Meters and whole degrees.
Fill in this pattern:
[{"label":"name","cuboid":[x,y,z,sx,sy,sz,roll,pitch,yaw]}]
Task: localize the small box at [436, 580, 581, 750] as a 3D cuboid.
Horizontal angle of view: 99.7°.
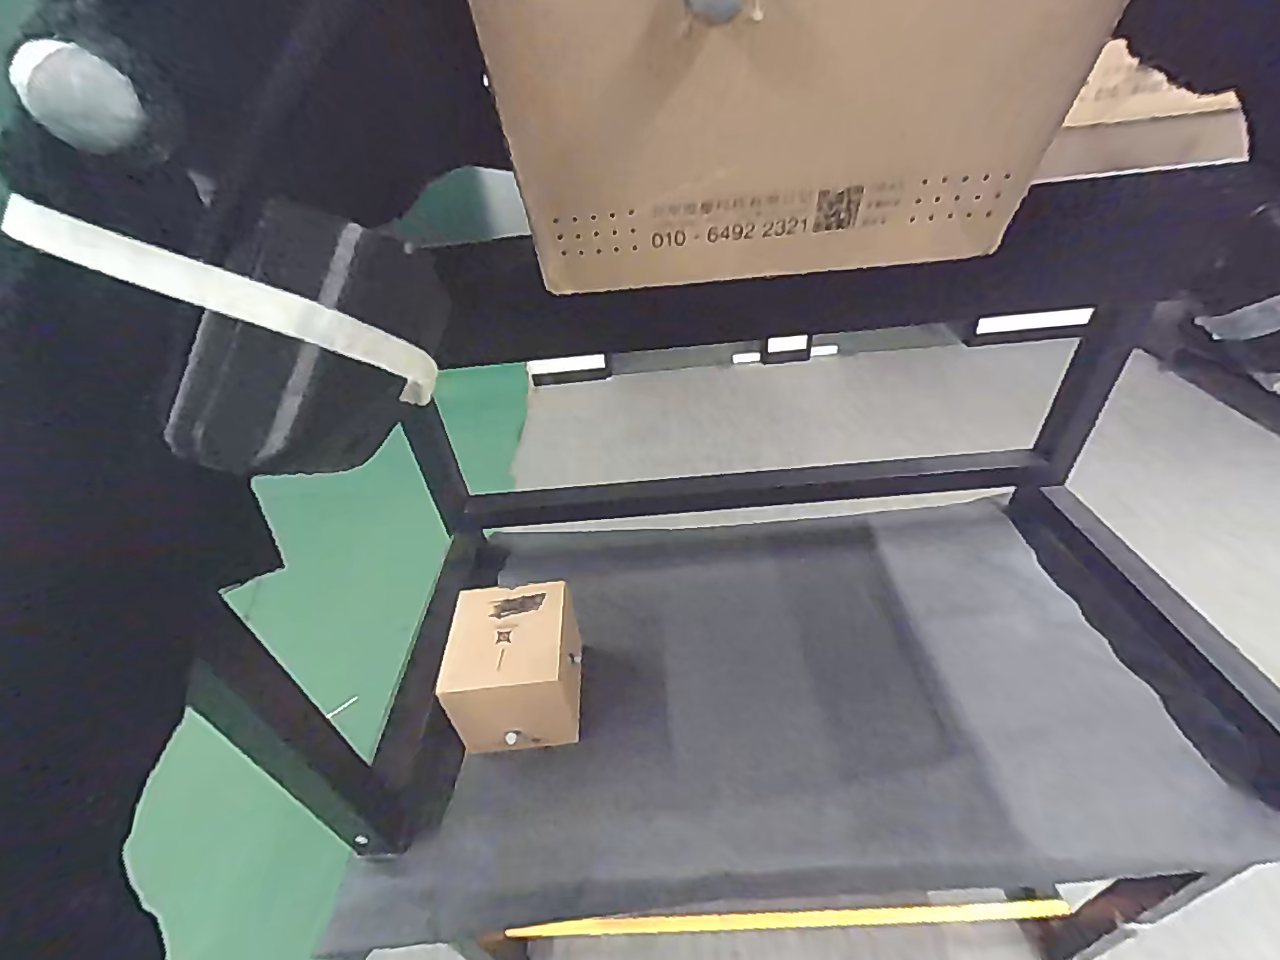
[{"label":"small box","cuboid":[-0.185,0.279,0.820,0.168,0.176,0.179,-6,38,1]}]
